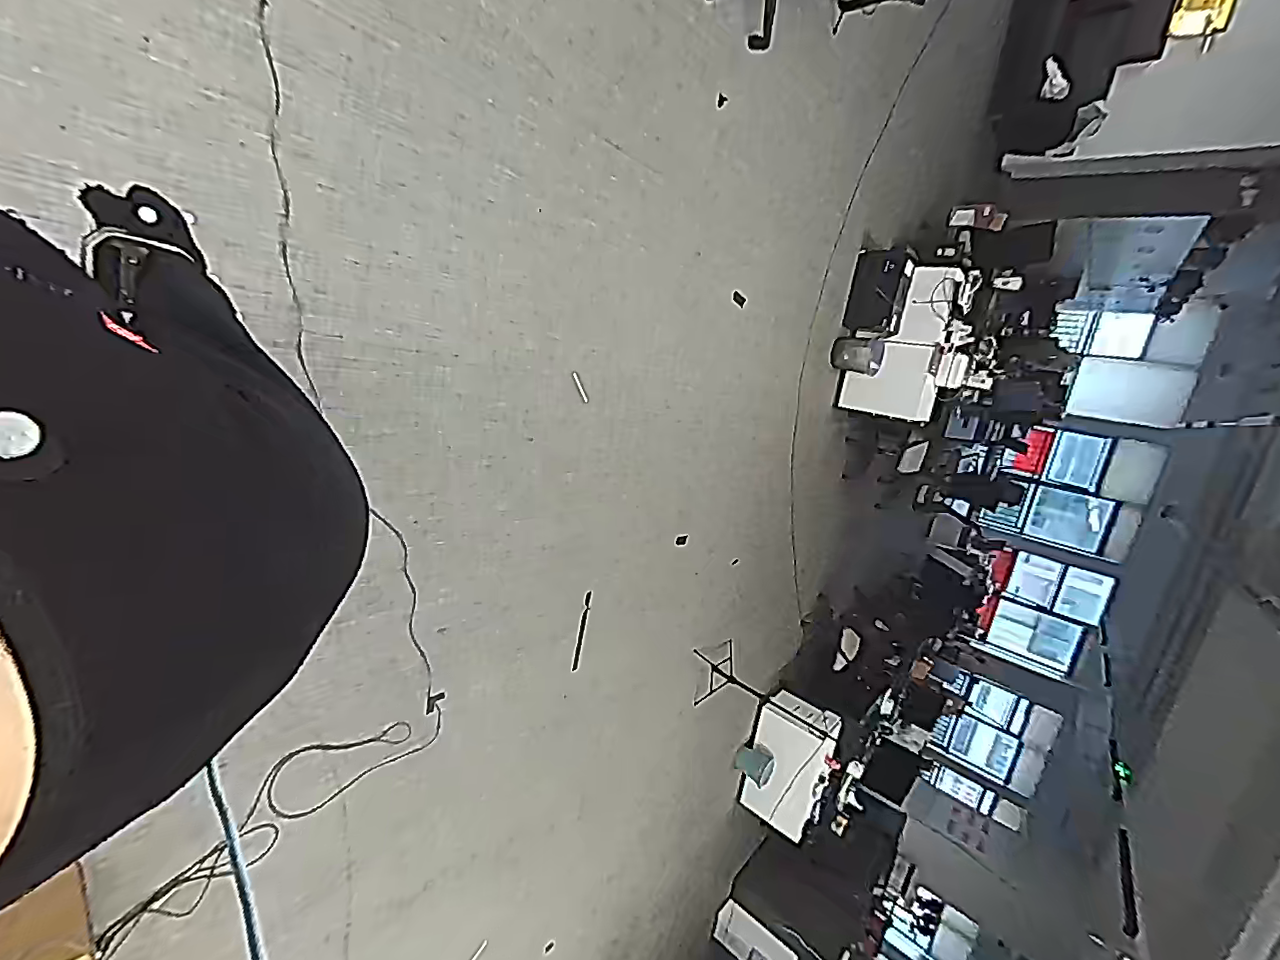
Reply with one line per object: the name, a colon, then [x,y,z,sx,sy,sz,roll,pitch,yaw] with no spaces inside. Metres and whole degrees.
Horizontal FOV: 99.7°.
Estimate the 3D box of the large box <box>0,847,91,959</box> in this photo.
large box: [-1.354,1.033,1.035,0.408,0.320,0.320,-6,109,-51]
